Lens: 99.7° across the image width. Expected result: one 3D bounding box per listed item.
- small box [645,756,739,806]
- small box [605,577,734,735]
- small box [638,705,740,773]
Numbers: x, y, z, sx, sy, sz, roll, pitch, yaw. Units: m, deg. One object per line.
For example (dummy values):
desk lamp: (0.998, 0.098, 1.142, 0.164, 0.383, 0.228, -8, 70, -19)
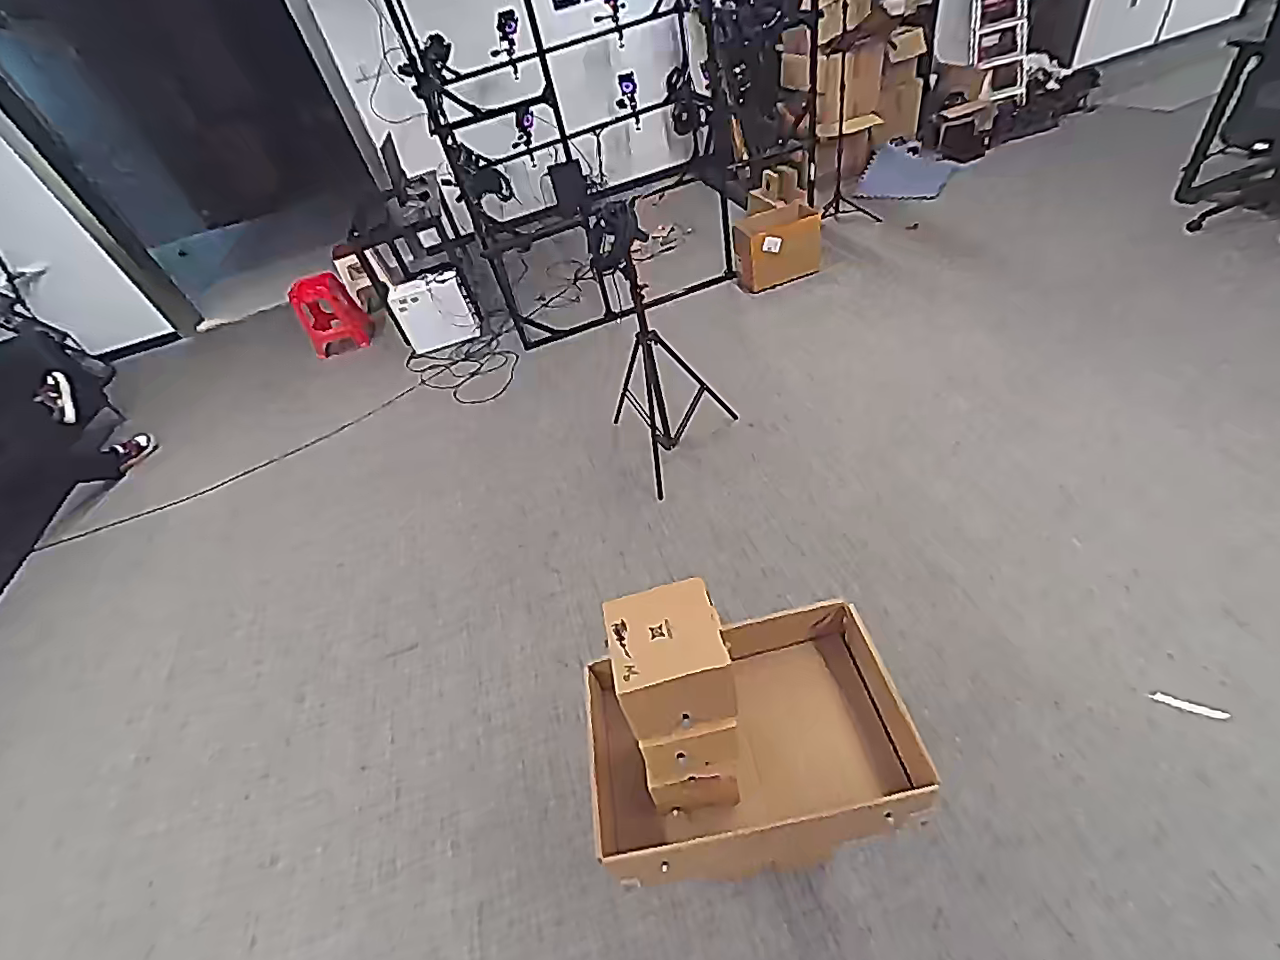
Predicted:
small box: (0.101, 0.540, 1.097, 0.168, 0.176, 0.179, -11, 42, 3)
small box: (0.050, 0.291, 0.891, 0.179, 0.176, 0.168, -14, 42, -1)
small box: (0.080, 0.415, 0.994, 0.168, 0.176, 0.179, -13, 42, 0)
